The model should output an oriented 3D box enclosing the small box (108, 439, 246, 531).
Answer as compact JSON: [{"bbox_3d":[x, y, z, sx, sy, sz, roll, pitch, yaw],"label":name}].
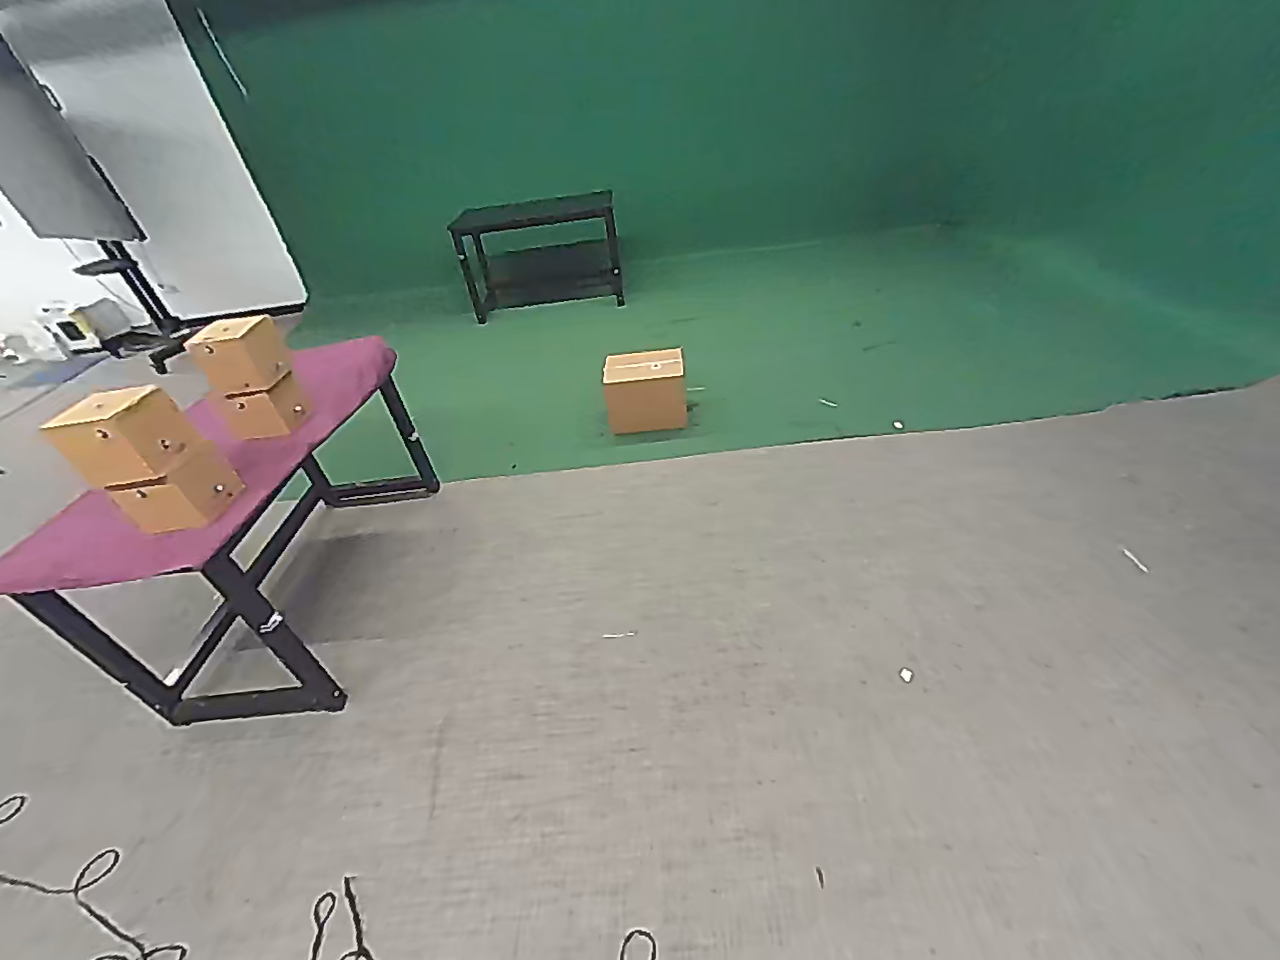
[{"bbox_3d":[-1.181,0.017,1.392,0.179,0.176,0.168,-8,37,3],"label":"small box"}]

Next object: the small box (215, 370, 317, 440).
[{"bbox_3d":[-1.194,-0.243,1.741,0.179,0.176,0.168,-5,38,4],"label":"small box"}]

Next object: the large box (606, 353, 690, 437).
[{"bbox_3d":[0.046,-0.445,2.846,0.408,0.320,0.320,-4,38,5],"label":"large box"}]

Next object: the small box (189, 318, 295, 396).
[{"bbox_3d":[-1.187,-0.370,1.635,0.168,0.176,0.179,-7,37,2],"label":"small box"}]

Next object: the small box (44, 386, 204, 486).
[{"bbox_3d":[-1.210,-0.101,1.284,0.179,0.176,0.168,-8,37,4],"label":"small box"}]
